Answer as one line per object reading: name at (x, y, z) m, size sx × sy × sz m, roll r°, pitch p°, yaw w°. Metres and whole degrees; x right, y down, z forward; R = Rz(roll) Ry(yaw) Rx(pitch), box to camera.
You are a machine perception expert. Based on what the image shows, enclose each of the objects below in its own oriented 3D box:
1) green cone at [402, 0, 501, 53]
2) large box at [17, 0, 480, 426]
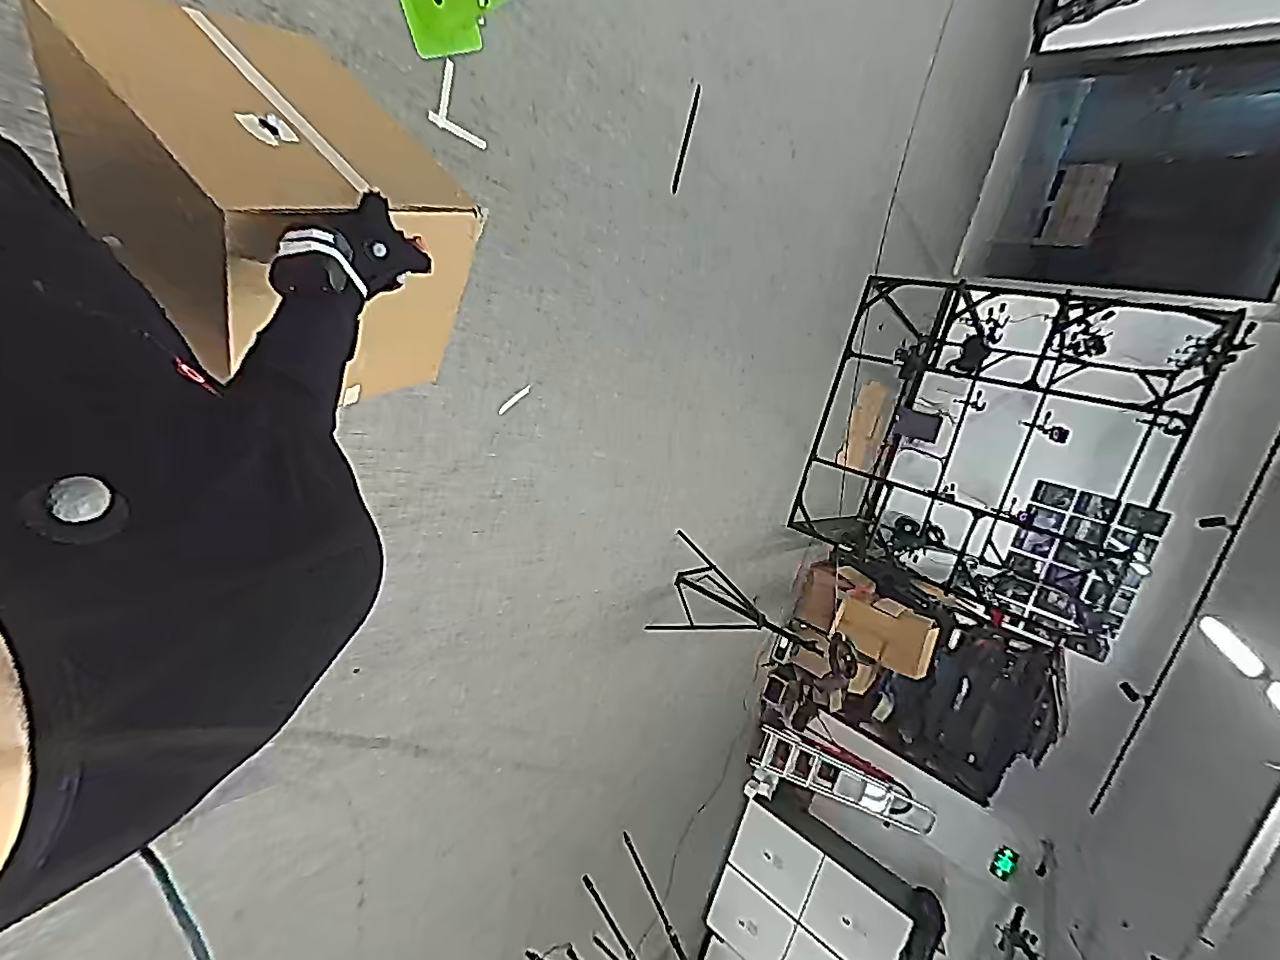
green cone at (-0.360, -1.113, 1.213) m, size 0.202 × 0.368 × 0.200 m, roll -43°, pitch 139°, yaw -33°
large box at (-0.503, -0.347, 0.736) m, size 0.320 × 0.408 × 0.320 m, roll -33°, pitch 166°, yaw -47°
